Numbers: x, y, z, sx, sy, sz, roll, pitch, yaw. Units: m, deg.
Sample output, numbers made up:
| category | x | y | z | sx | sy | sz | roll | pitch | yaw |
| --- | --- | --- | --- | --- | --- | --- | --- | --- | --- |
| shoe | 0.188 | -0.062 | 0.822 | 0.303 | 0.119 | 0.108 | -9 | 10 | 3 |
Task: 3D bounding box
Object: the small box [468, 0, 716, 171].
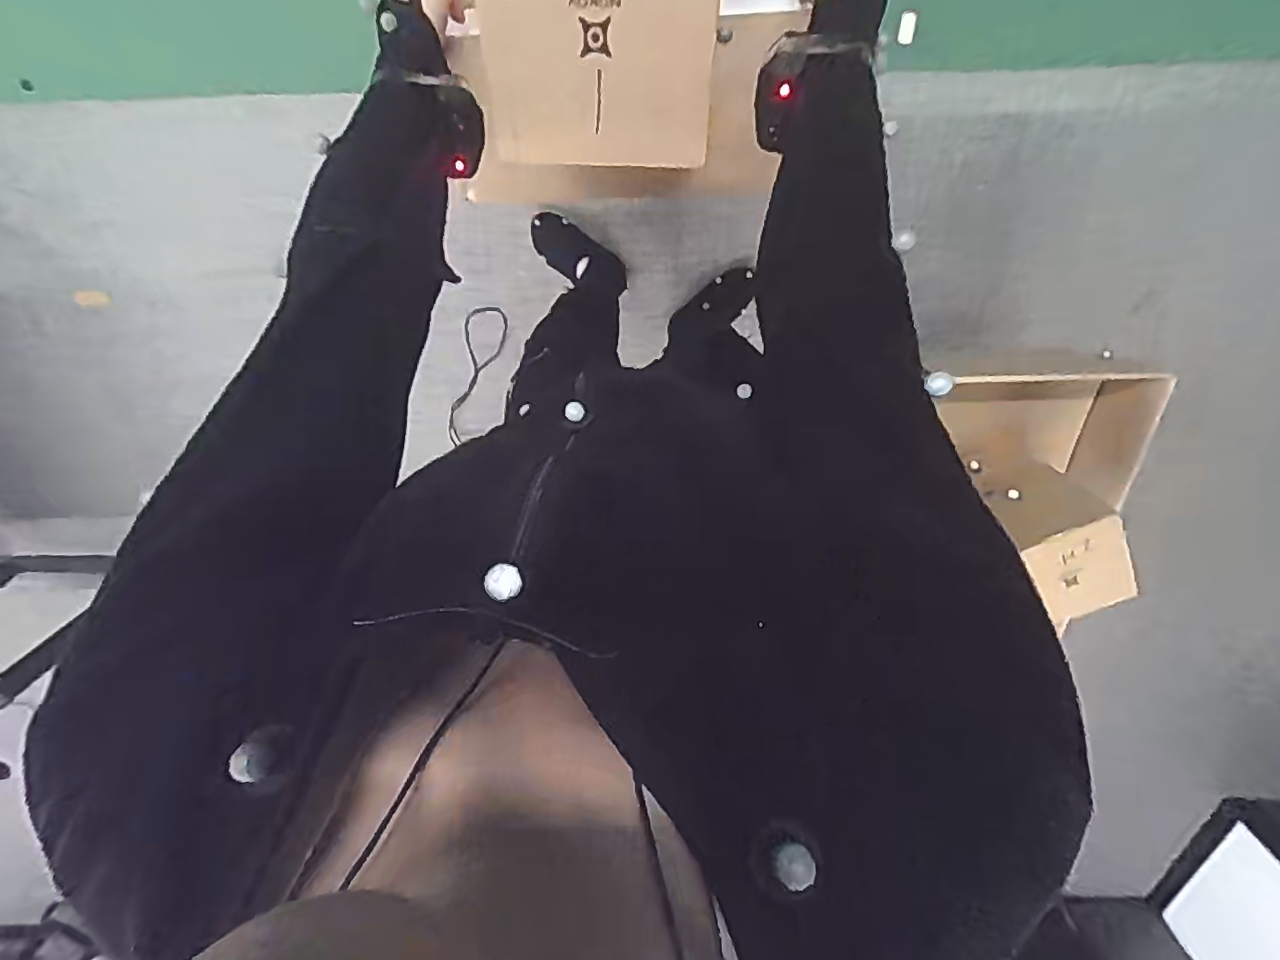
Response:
| category | x | y | z | sx | sy | sz | roll | pitch | yaw |
| --- | --- | --- | --- | --- | --- | --- | --- | --- | --- |
| small box | -0.029 | -0.359 | 0.419 | 0.168 | 0.176 | 0.179 | 3 | 133 | 2 |
